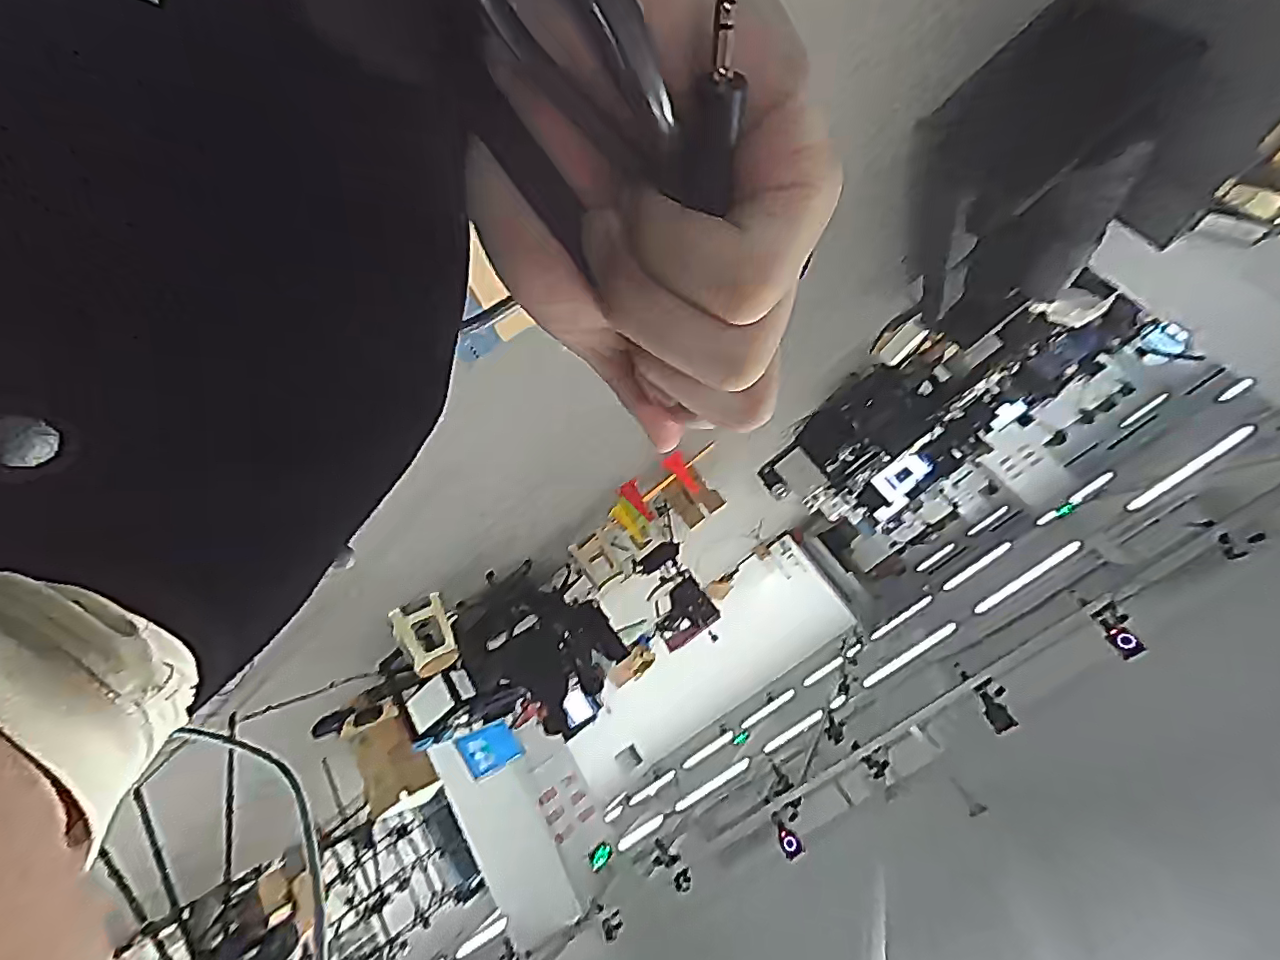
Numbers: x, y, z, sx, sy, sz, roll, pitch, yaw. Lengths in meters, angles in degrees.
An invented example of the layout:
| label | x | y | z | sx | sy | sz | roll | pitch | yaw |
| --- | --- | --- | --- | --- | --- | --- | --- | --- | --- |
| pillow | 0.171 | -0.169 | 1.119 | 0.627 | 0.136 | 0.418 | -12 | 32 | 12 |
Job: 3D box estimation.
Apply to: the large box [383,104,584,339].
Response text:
| label | x | y | z | sx | sy | sz | roll | pitch | yaw |
| --- | --- | --- | --- | --- | --- | --- | --- | --- | --- |
| large box | -0.396 | -0.671 | 1.448 | 0.320 | 0.320 | 0.408 | -34 | 160 | -7 |
